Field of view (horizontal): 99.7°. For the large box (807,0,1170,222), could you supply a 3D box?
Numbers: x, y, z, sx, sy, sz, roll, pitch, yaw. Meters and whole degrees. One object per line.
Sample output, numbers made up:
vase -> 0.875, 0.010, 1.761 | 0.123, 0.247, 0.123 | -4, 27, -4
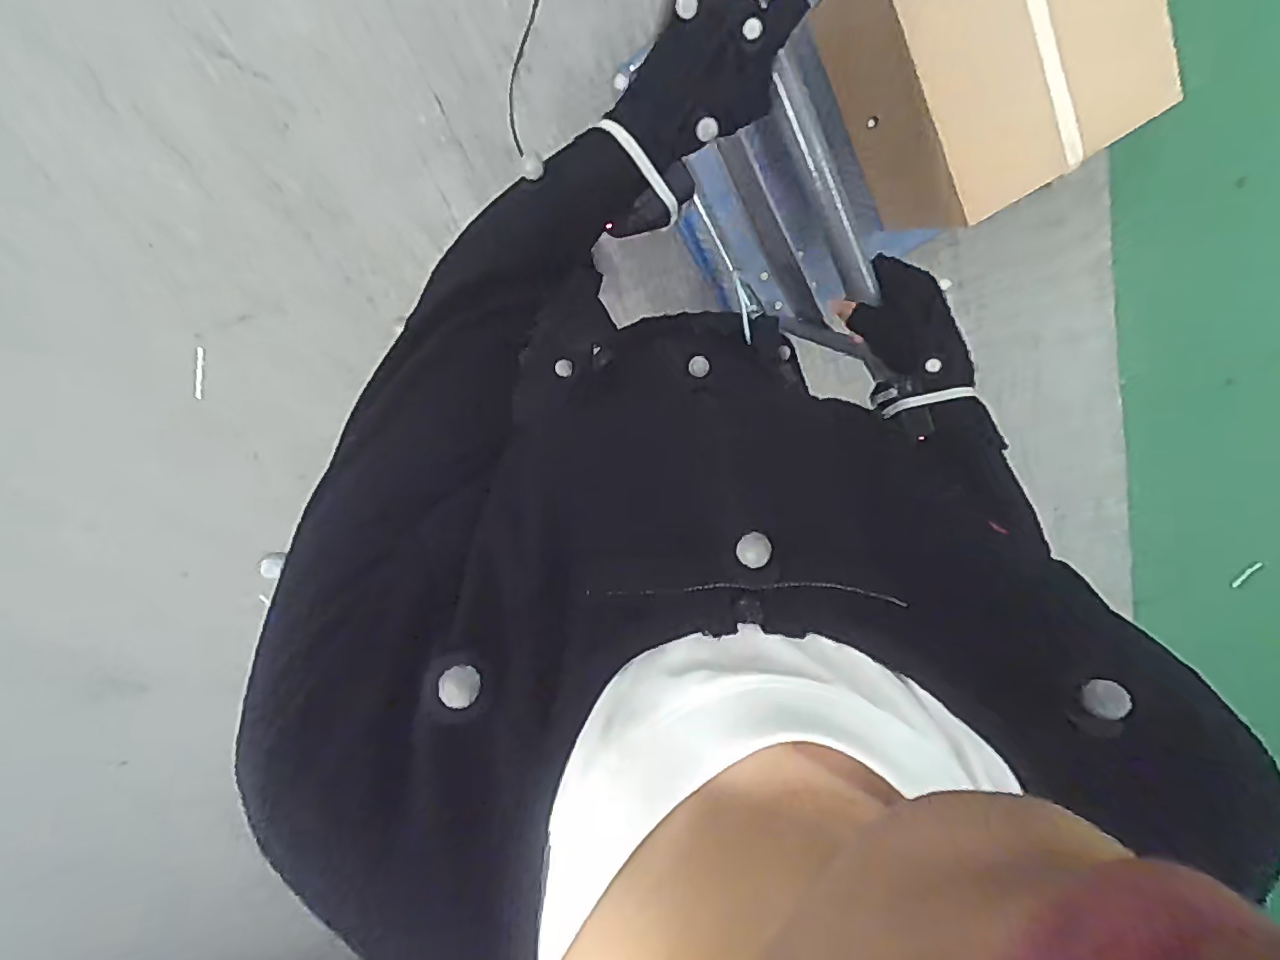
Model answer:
large box -> 0.528, -0.691, 0.876 | 0.320, 0.320, 0.408 | -30, 111, 12
